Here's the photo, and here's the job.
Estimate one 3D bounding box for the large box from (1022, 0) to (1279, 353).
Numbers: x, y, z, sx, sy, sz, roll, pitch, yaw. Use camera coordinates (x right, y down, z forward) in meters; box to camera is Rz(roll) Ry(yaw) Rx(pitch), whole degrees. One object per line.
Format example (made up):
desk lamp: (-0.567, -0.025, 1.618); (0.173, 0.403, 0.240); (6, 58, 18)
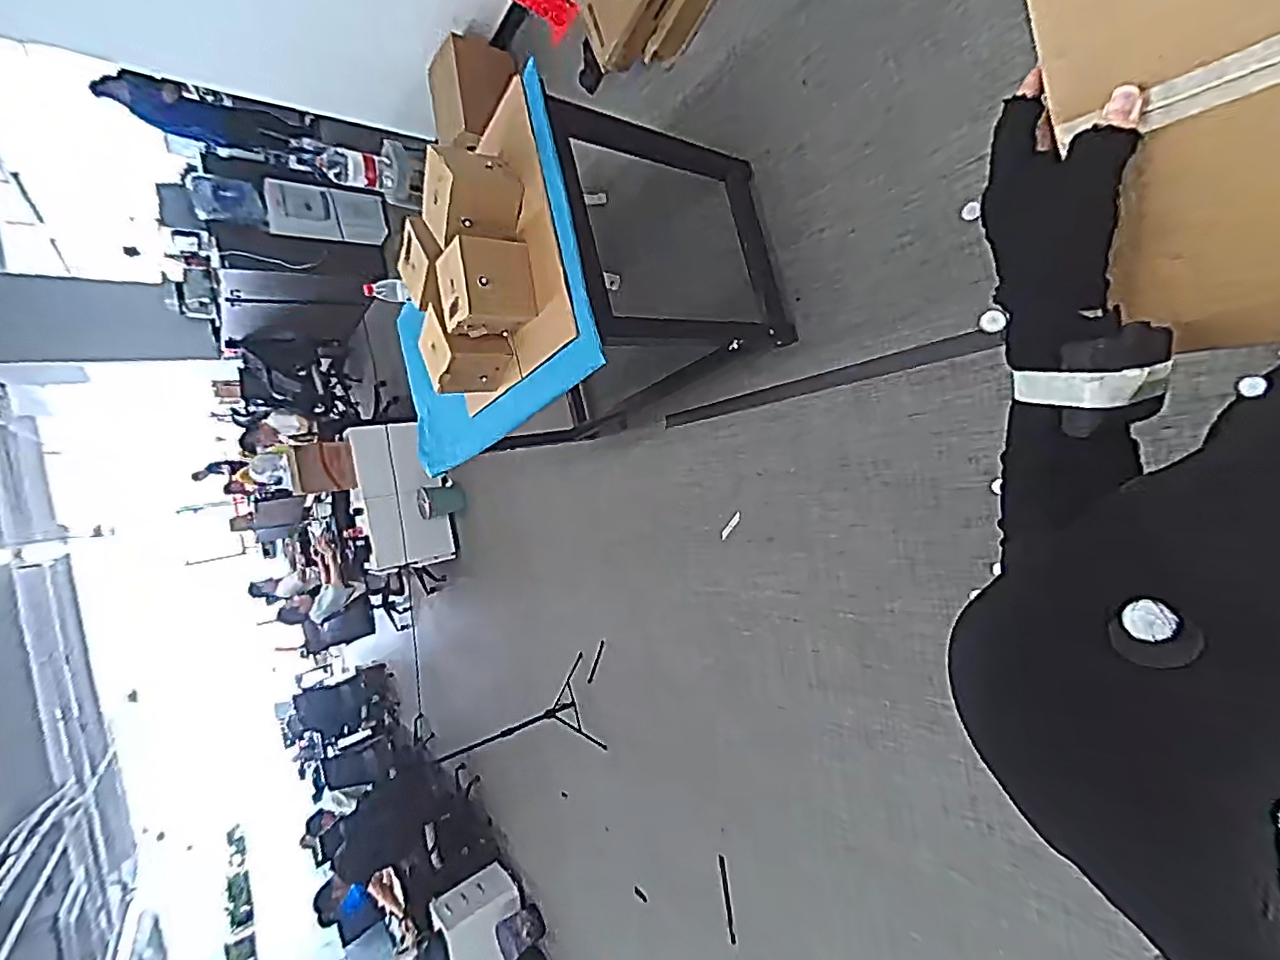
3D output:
large box: (0.462, -0.297, 0.230); (0.408, 0.320, 0.320); (4, 136, 56)
